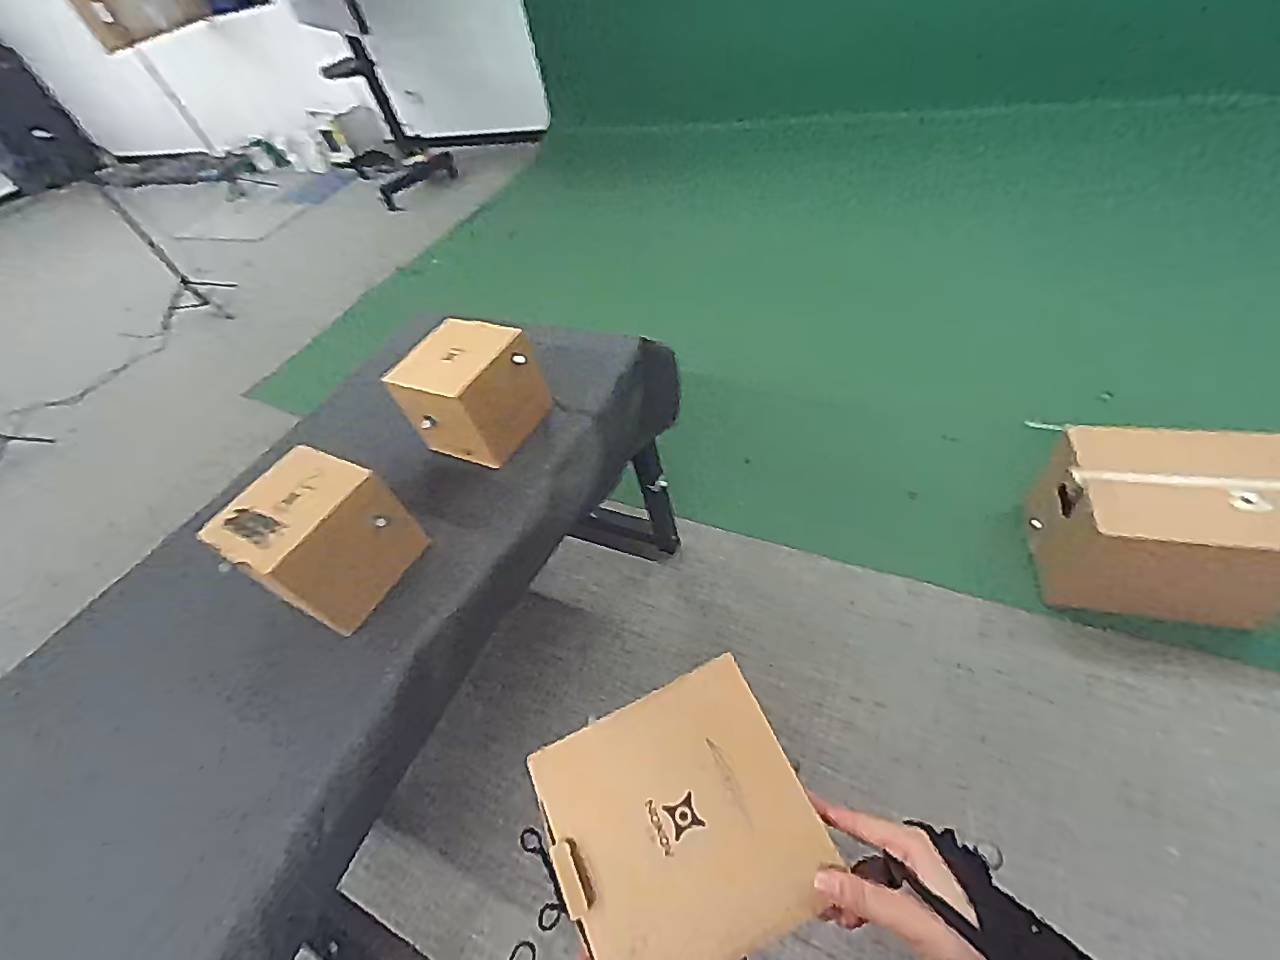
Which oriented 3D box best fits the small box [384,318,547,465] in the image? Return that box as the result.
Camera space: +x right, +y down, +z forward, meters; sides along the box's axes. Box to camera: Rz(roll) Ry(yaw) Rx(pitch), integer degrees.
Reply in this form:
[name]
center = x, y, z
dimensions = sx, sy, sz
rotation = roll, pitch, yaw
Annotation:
[small box]
center = -0.285, -0.150, 0.927
dimensions = 0.168, 0.176, 0.179
rotation = 15, 55, 26
